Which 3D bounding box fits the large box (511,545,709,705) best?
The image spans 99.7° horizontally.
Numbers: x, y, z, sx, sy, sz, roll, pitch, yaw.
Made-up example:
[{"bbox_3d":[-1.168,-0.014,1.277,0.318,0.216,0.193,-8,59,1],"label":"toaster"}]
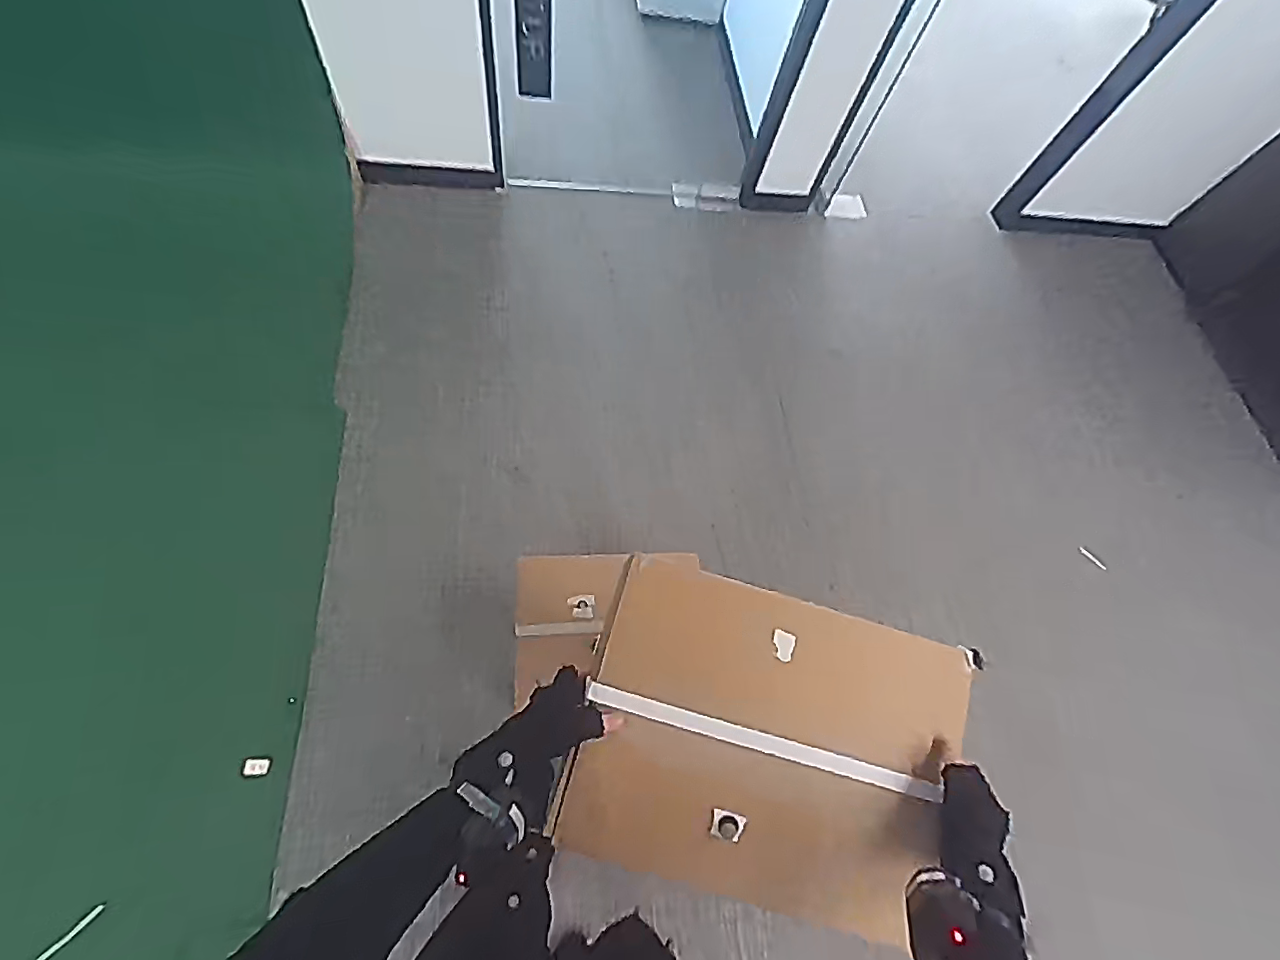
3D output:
[{"bbox_3d":[-0.084,0.346,1.269,0.408,0.320,0.320,0,67,-9],"label":"large box"}]
